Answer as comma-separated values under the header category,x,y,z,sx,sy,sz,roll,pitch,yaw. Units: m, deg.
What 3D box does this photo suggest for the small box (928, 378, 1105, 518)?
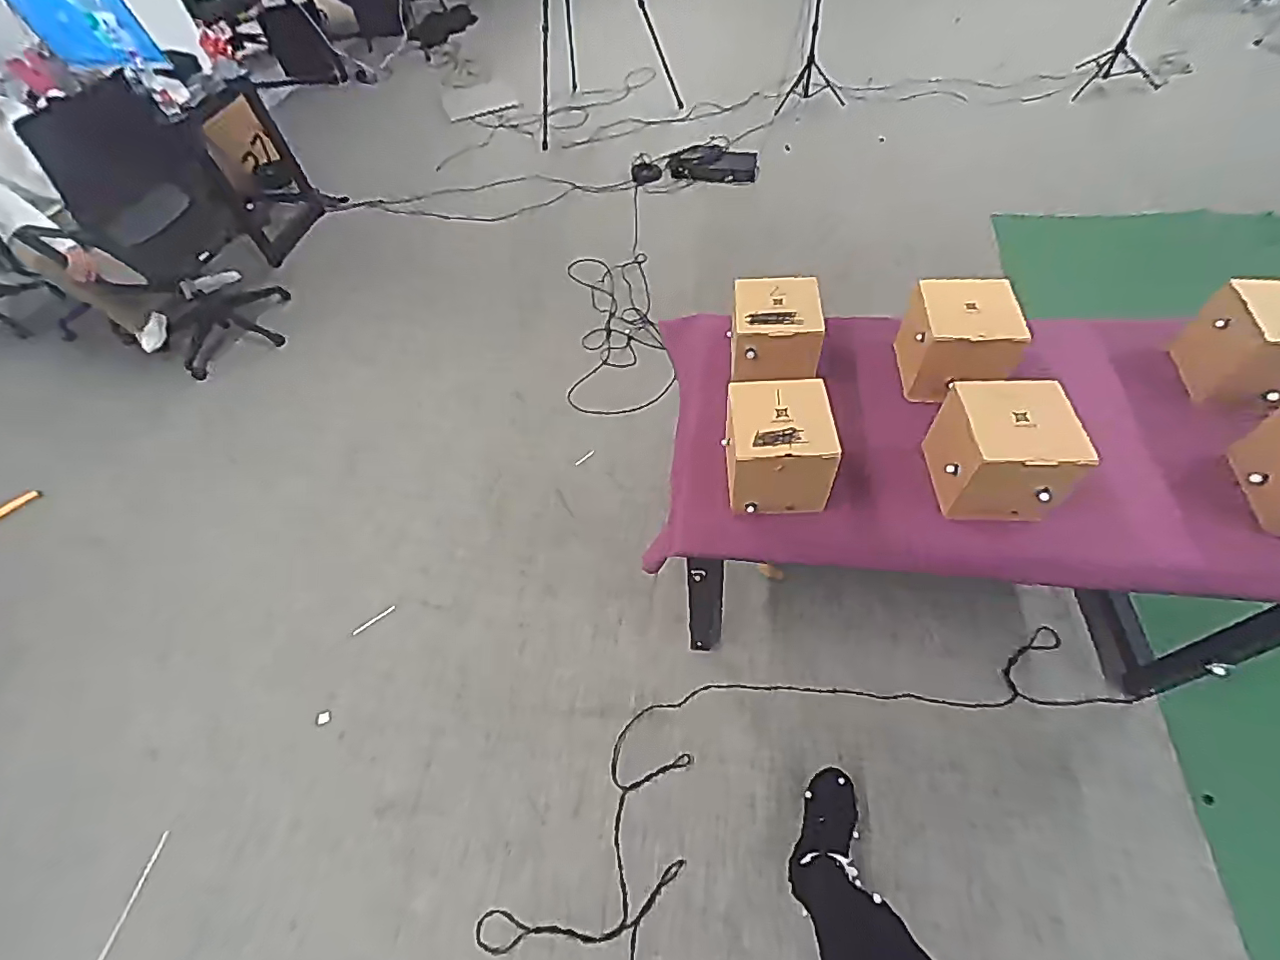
category,x,y,z,sx,sy,sz,roll,pitch,yaw
small box,0.609,-0.049,0.904,0.168,0.176,0.179,0,53,8

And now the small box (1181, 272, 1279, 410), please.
category,x,y,z,sx,sy,sz,roll,pitch,yaw
small box,1.141,-0.248,0.971,0.168,0.176,0.179,6,57,13

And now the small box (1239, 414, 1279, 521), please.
category,x,y,z,sx,sy,sz,roll,pitch,yaw
small box,1.091,-0.023,0.817,0.168,0.176,0.179,7,55,13

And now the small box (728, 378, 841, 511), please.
category,x,y,z,sx,sy,sz,roll,pitch,yaw
small box,0.244,-0.056,0.955,0.168,0.176,0.179,-2,53,6

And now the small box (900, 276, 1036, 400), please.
category,x,y,z,sx,sy,sz,roll,pitch,yaw
small box,0.629,-0.277,1.065,0.168,0.176,0.179,2,56,9
